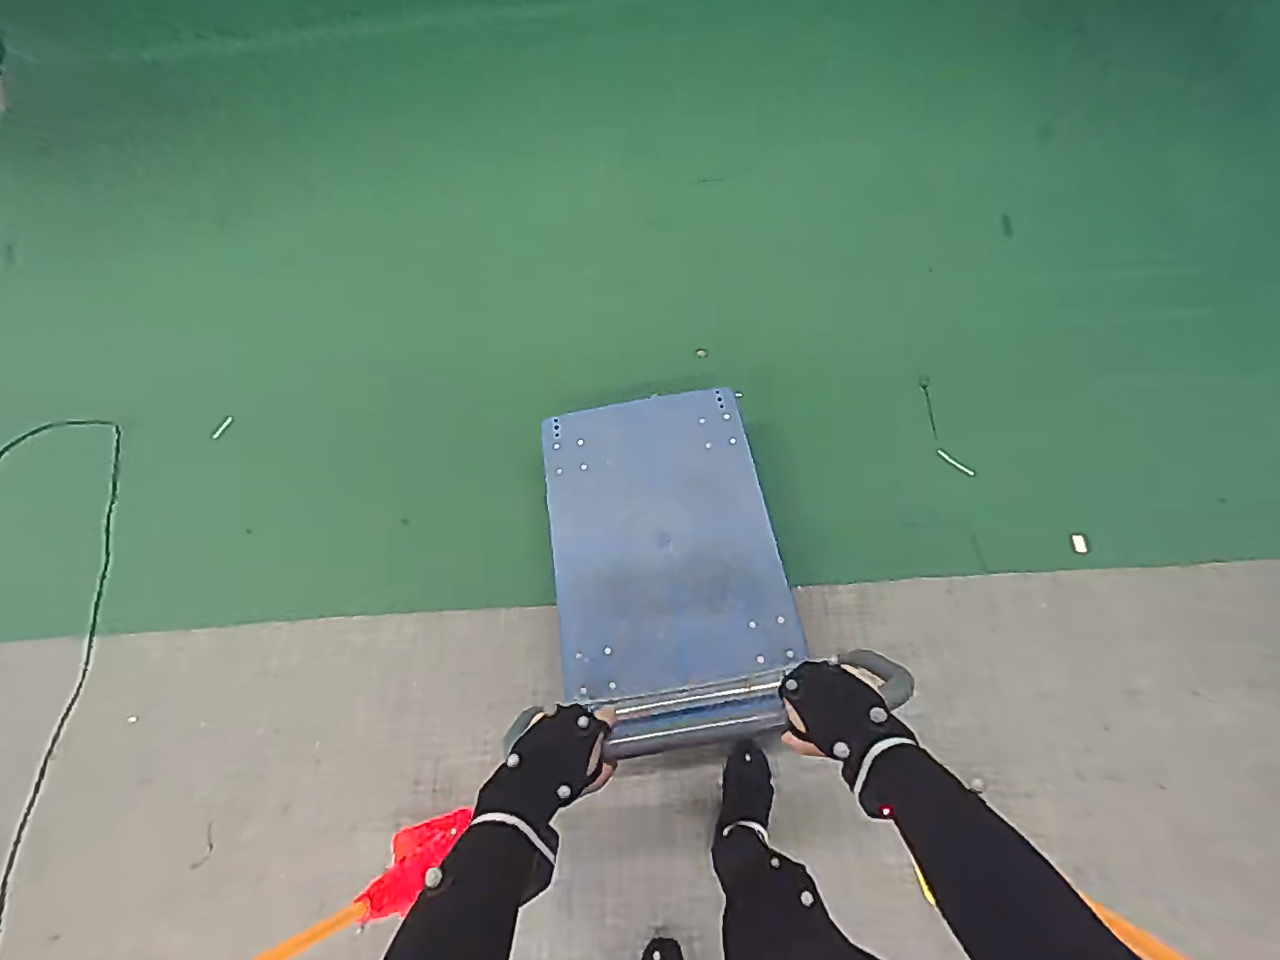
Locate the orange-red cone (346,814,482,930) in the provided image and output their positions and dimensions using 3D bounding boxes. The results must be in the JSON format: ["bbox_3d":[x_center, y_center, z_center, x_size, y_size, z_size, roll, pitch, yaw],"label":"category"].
[{"bbox_3d":[-0.491,0.846,1.117,0.199,0.360,0.198,-18,64,-2],"label":"orange-red cone"}]
